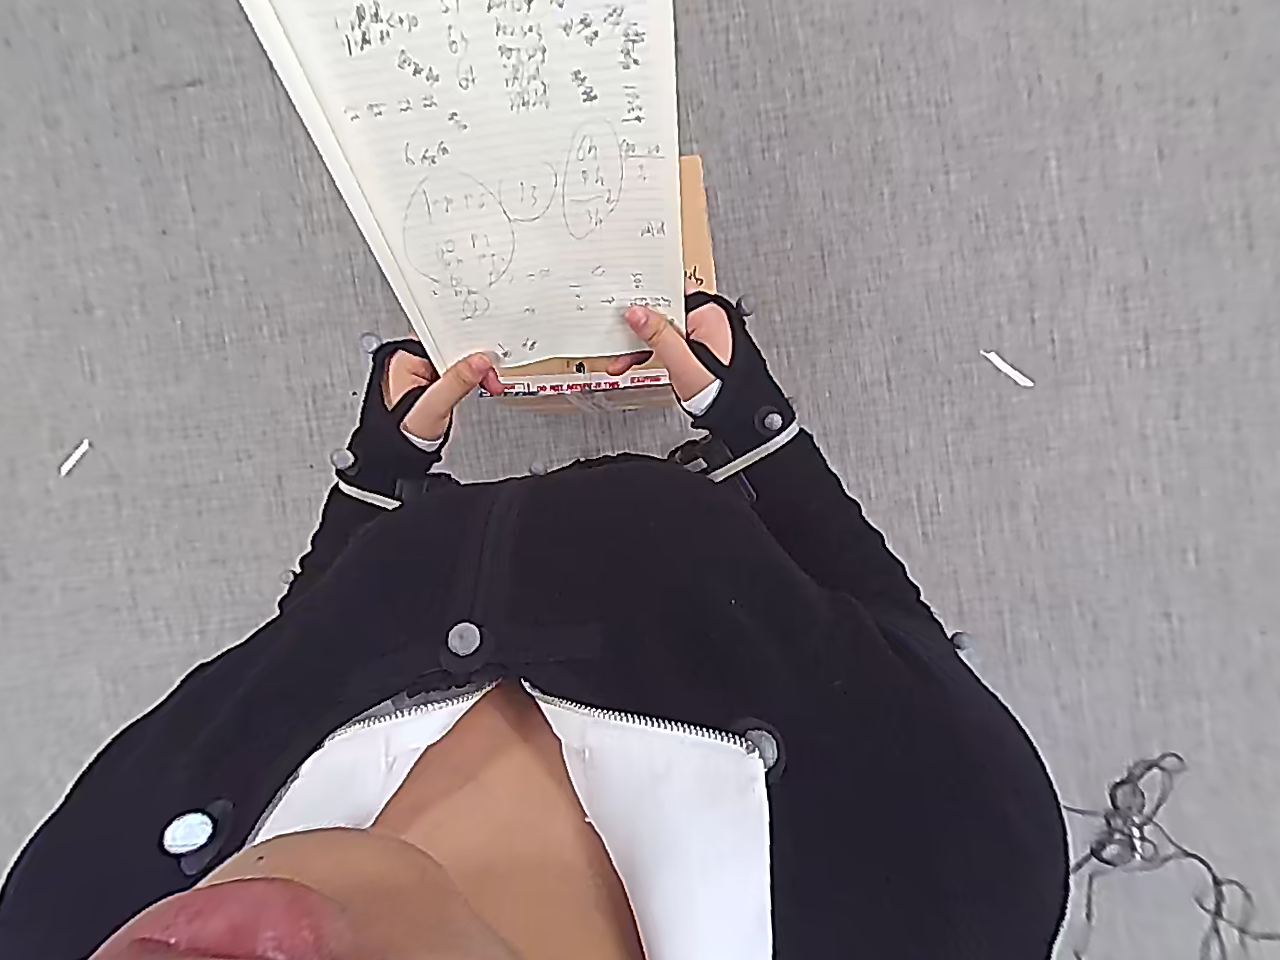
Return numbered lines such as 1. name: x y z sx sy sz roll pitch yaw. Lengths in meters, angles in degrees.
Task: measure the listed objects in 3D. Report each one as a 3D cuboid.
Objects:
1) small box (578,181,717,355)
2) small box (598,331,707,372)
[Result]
1. small box: 0.007 -0.289 0.770 0.168 0.176 0.179 -7 93 -1
2. small box: 0.009 -0.289 0.934 0.179 0.176 0.168 -10 93 1
